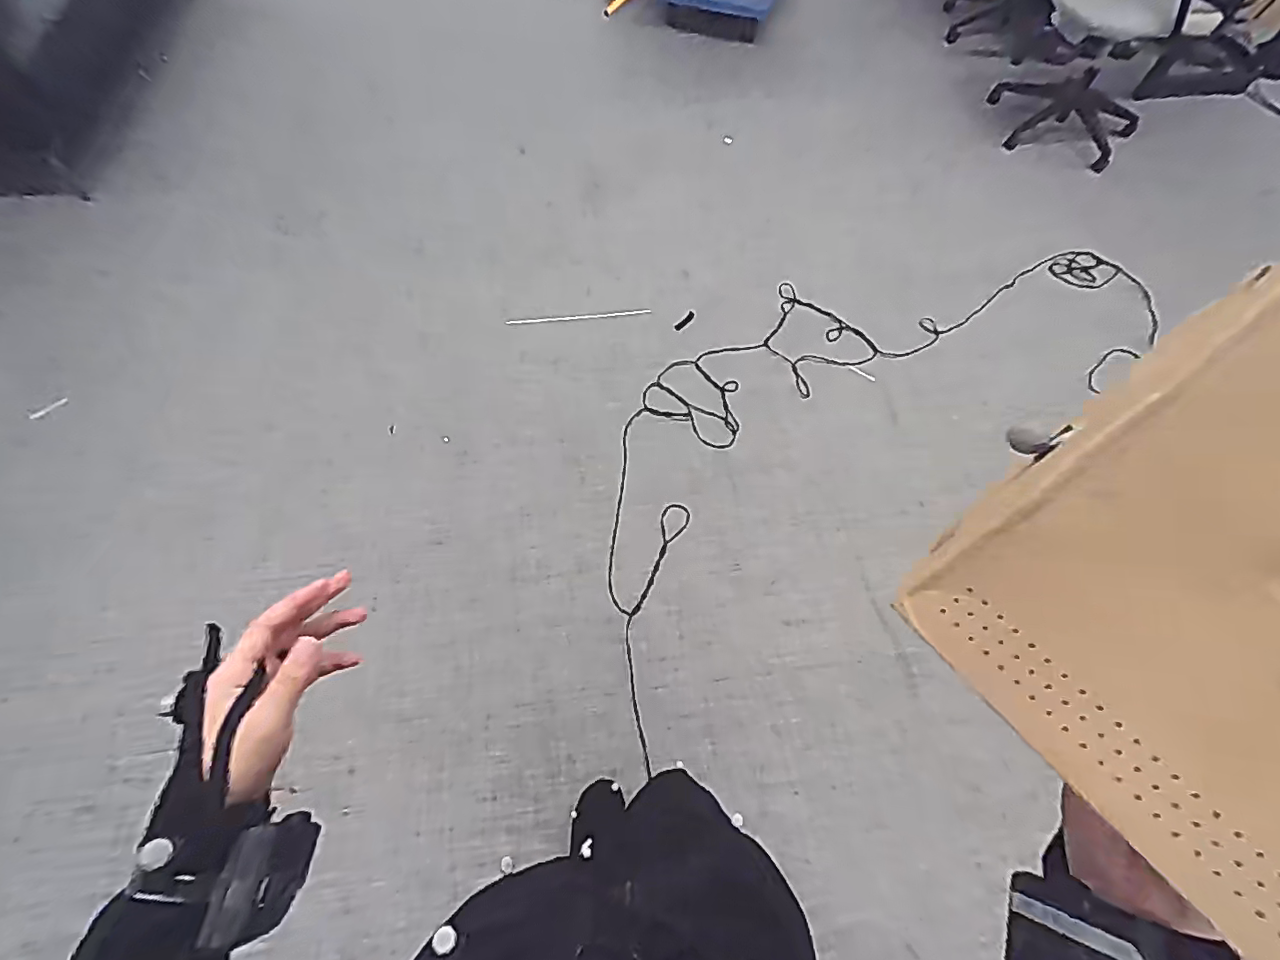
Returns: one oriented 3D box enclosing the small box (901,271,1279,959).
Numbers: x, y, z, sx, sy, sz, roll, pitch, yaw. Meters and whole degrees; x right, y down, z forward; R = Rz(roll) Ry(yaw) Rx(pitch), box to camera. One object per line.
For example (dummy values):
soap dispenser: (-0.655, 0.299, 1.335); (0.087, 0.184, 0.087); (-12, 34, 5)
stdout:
small box: (0.241, 0.049, 0.219); (0.179, 0.176, 0.168); (46, 29, 21)
